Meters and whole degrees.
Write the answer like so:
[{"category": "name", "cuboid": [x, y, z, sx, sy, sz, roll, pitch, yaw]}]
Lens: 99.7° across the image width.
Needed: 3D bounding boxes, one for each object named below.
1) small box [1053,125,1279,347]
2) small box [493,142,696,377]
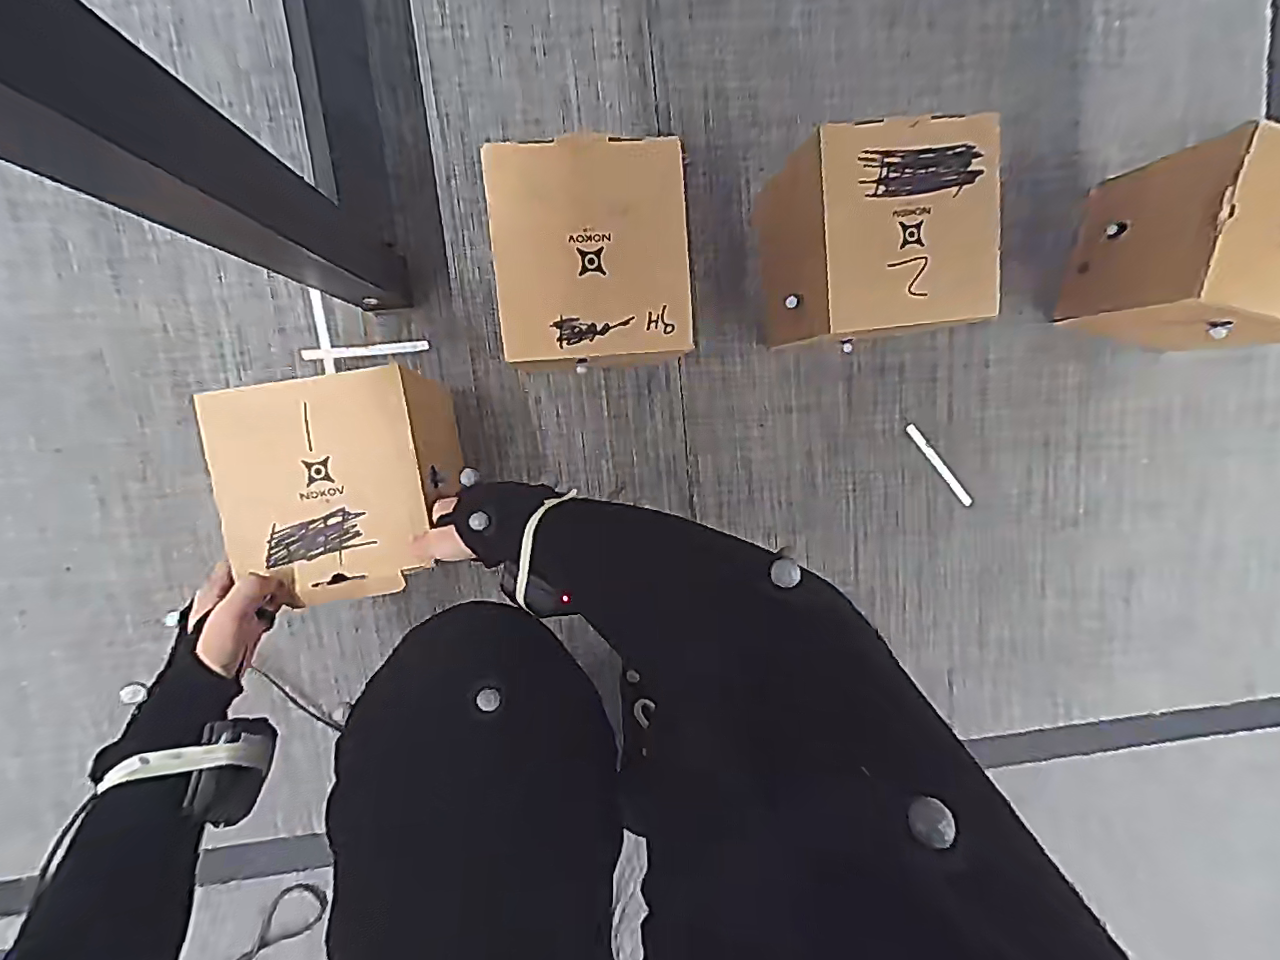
[{"category": "small box", "cuboid": [0.623, -0.248, 0.600, 0.179, 0.176, 0.168, 11, 97, -7]}, {"category": "small box", "cuboid": [-0.045, -0.199, 0.532, 0.168, 0.176, 0.179, -4, 97, -6]}]
